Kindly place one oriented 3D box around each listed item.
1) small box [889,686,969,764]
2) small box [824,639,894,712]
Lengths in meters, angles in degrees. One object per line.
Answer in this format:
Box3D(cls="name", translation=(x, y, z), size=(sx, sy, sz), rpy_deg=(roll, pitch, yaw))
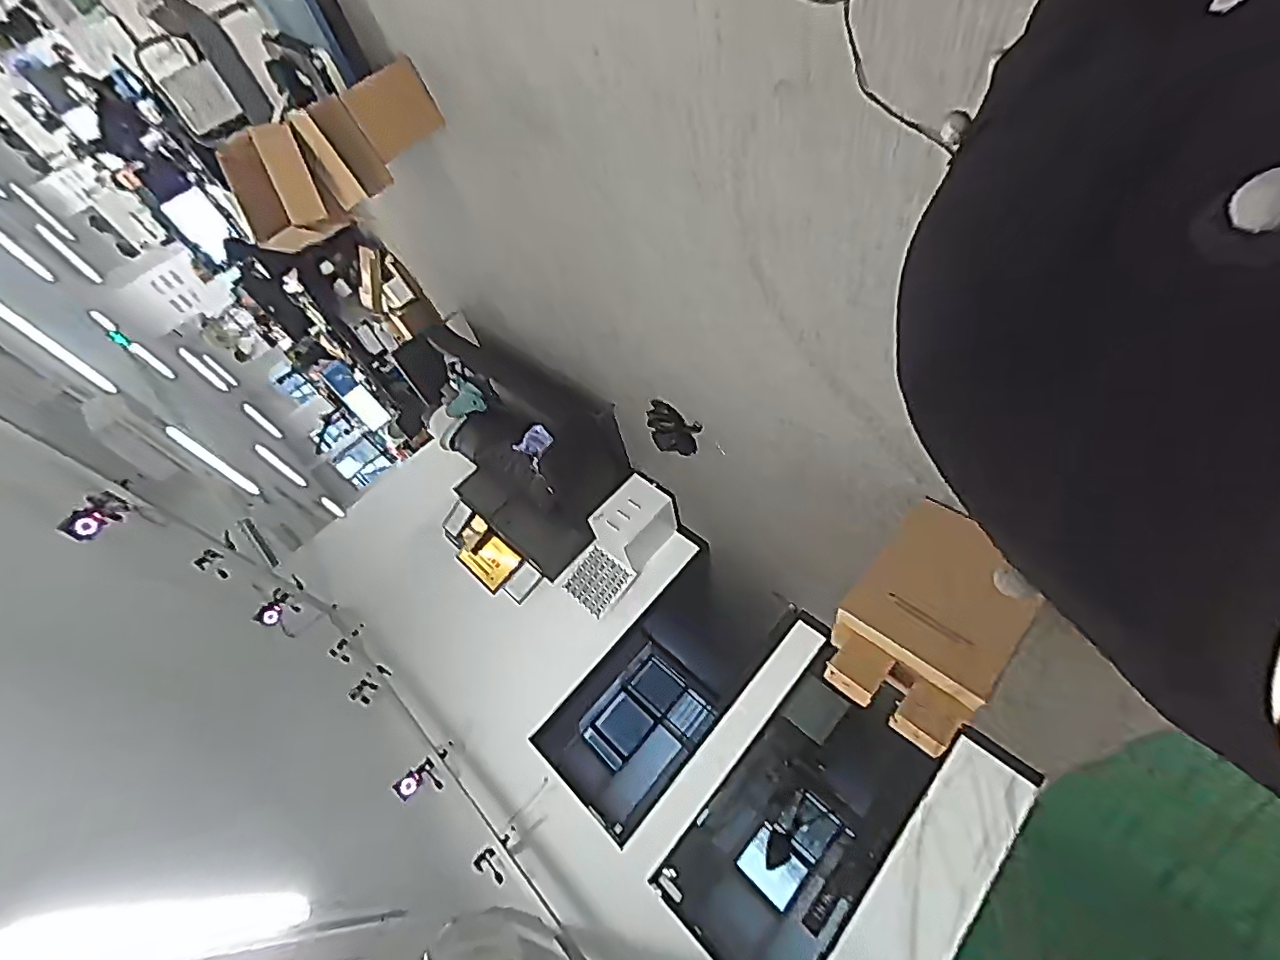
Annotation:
Box3D(cls="small box", translation=(1.013, 0.852, 1.899), size=(0.179, 0.176, 0.168), rpy_deg=(31, 154, 32))
Box3D(cls="small box", translation=(0.824, 0.731, 2.035), size=(0.179, 0.176, 0.168), rpy_deg=(33, 154, 30))
